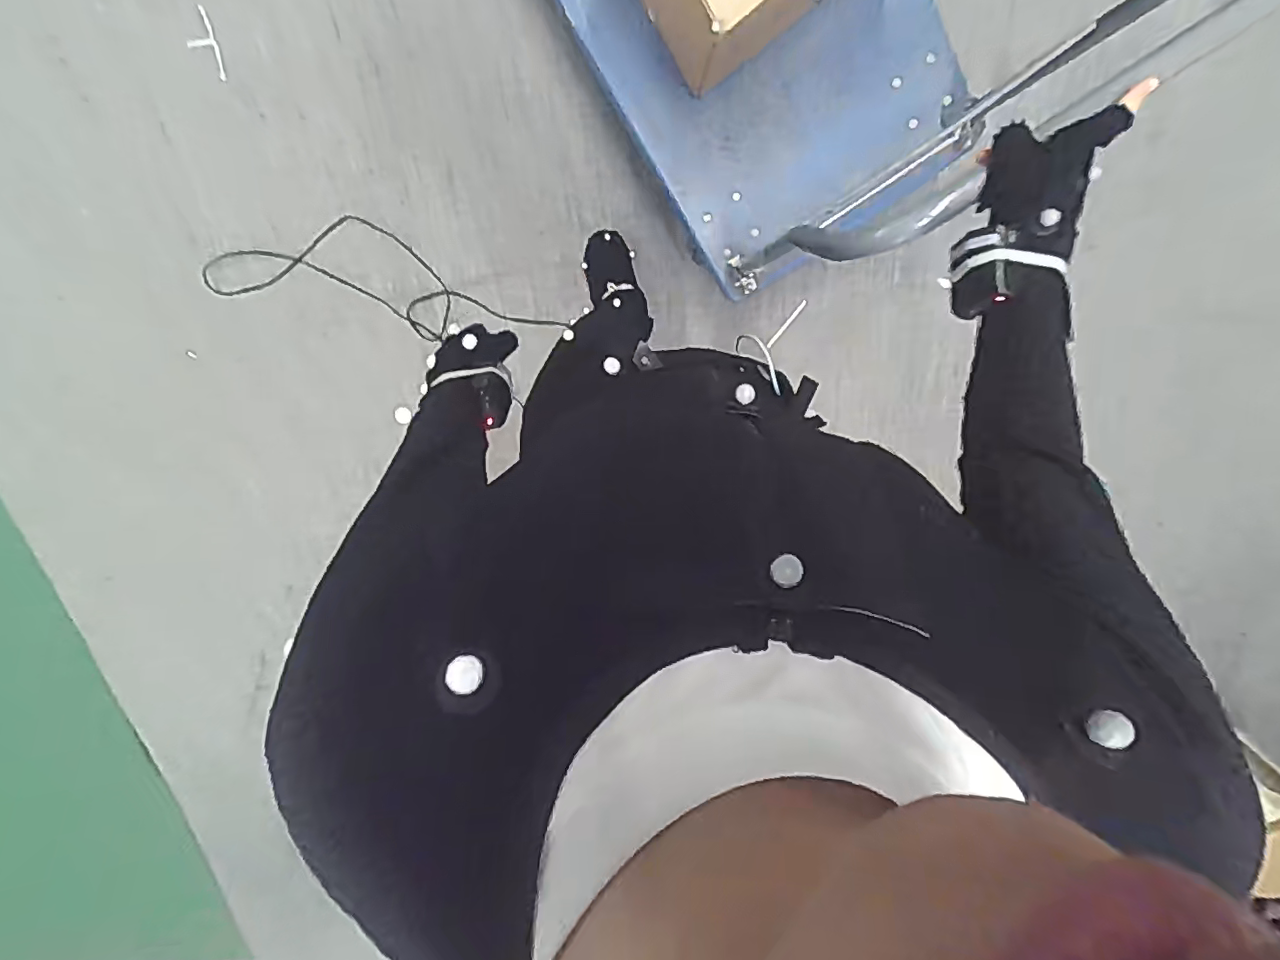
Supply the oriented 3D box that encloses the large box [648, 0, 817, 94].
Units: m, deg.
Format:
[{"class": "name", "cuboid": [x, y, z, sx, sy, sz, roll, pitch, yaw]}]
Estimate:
[{"class": "large box", "cuboid": [0.195, -0.910, 0.823, 0.408, 0.320, 0.320, -34, 107, 12]}]
